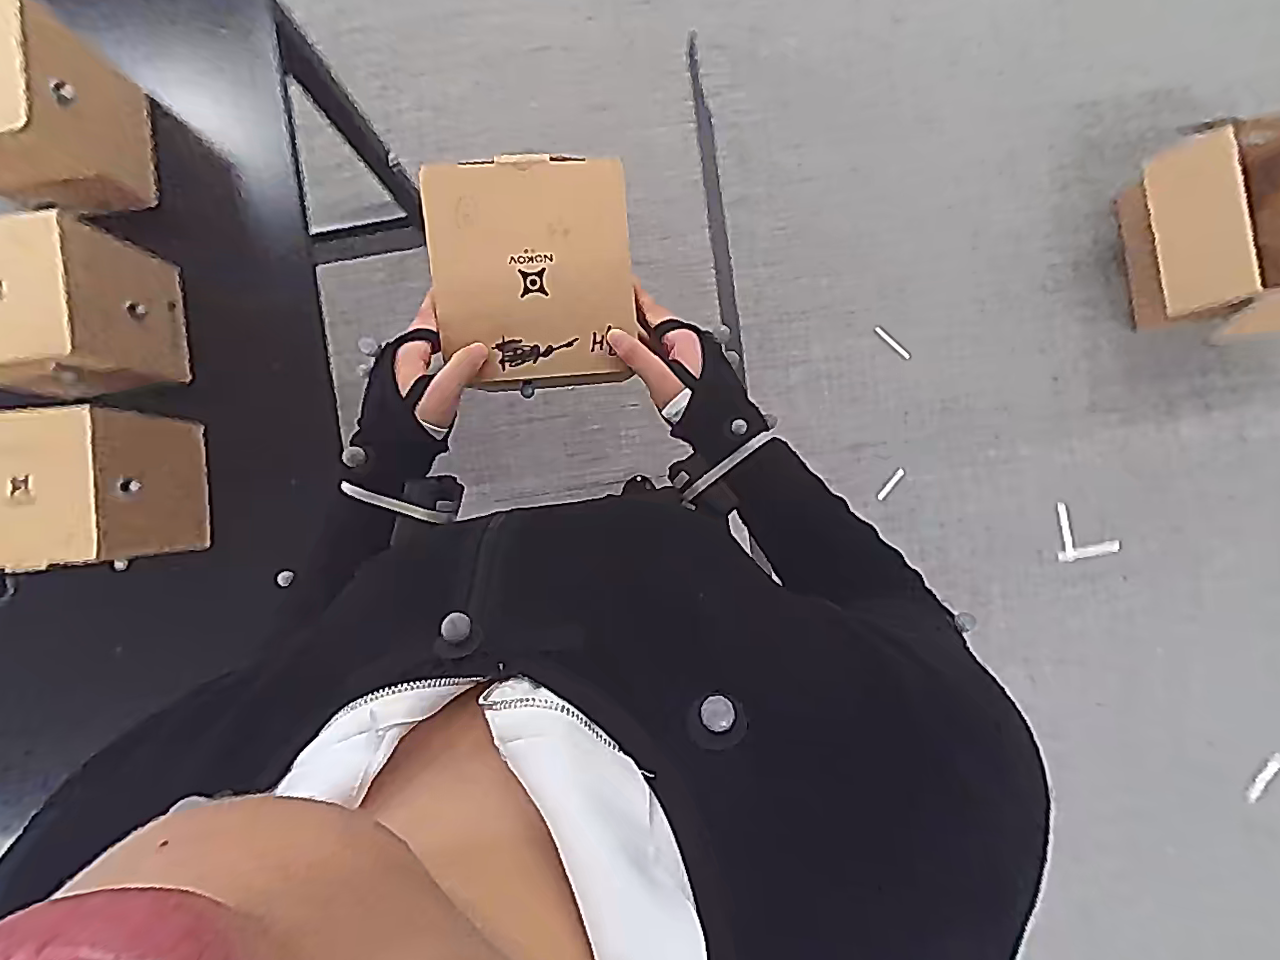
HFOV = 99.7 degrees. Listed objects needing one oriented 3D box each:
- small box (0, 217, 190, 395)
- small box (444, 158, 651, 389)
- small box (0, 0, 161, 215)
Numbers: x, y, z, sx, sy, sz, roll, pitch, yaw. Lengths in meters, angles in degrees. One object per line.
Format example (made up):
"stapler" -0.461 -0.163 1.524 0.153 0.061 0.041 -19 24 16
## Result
"small box" -0.729 -0.212 0.700 0.179 0.176 0.168 -7 89 0
"small box" -0.083 -0.187 0.535 0.168 0.176 0.179 -4 97 -4
"small box" -0.777 -0.469 0.704 0.168 0.176 0.179 -7 88 0
